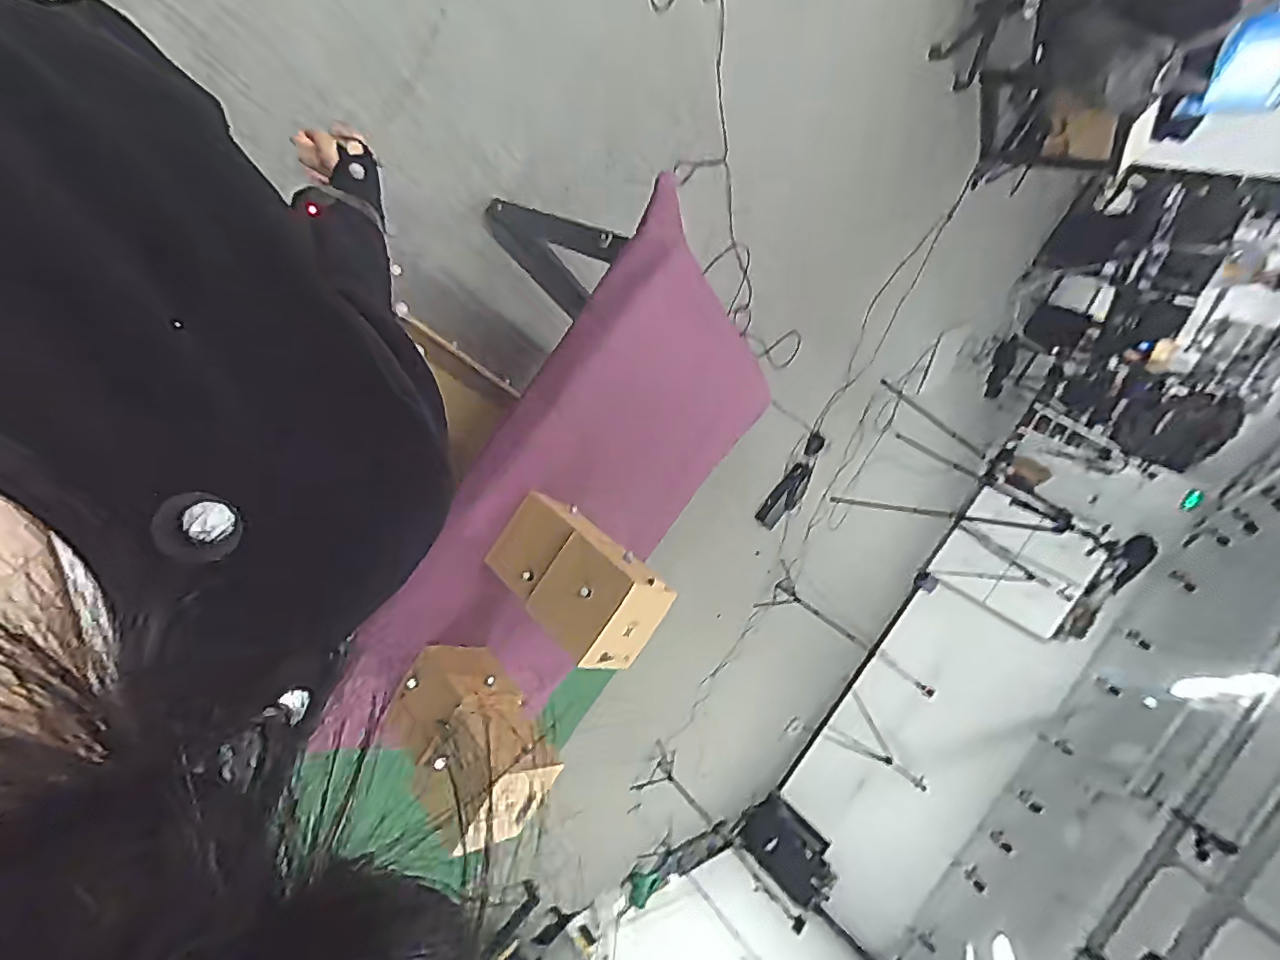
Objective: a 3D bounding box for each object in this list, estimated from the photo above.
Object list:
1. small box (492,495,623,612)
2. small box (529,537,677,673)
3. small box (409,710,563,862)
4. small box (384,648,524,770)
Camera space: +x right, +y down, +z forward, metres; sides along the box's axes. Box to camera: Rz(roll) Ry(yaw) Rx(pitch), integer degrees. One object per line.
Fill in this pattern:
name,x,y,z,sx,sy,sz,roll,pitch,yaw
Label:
small box,-0.174,0.161,1.101,0.179,0.176,0.168,-56,145,0
small box,-0.070,0.227,0.990,0.179,0.176,0.168,-56,144,1
small box,-0.285,0.549,1.001,0.168,0.176,0.179,-58,145,0
small box,-0.380,0.464,1.106,0.168,0.176,0.179,-57,145,1
